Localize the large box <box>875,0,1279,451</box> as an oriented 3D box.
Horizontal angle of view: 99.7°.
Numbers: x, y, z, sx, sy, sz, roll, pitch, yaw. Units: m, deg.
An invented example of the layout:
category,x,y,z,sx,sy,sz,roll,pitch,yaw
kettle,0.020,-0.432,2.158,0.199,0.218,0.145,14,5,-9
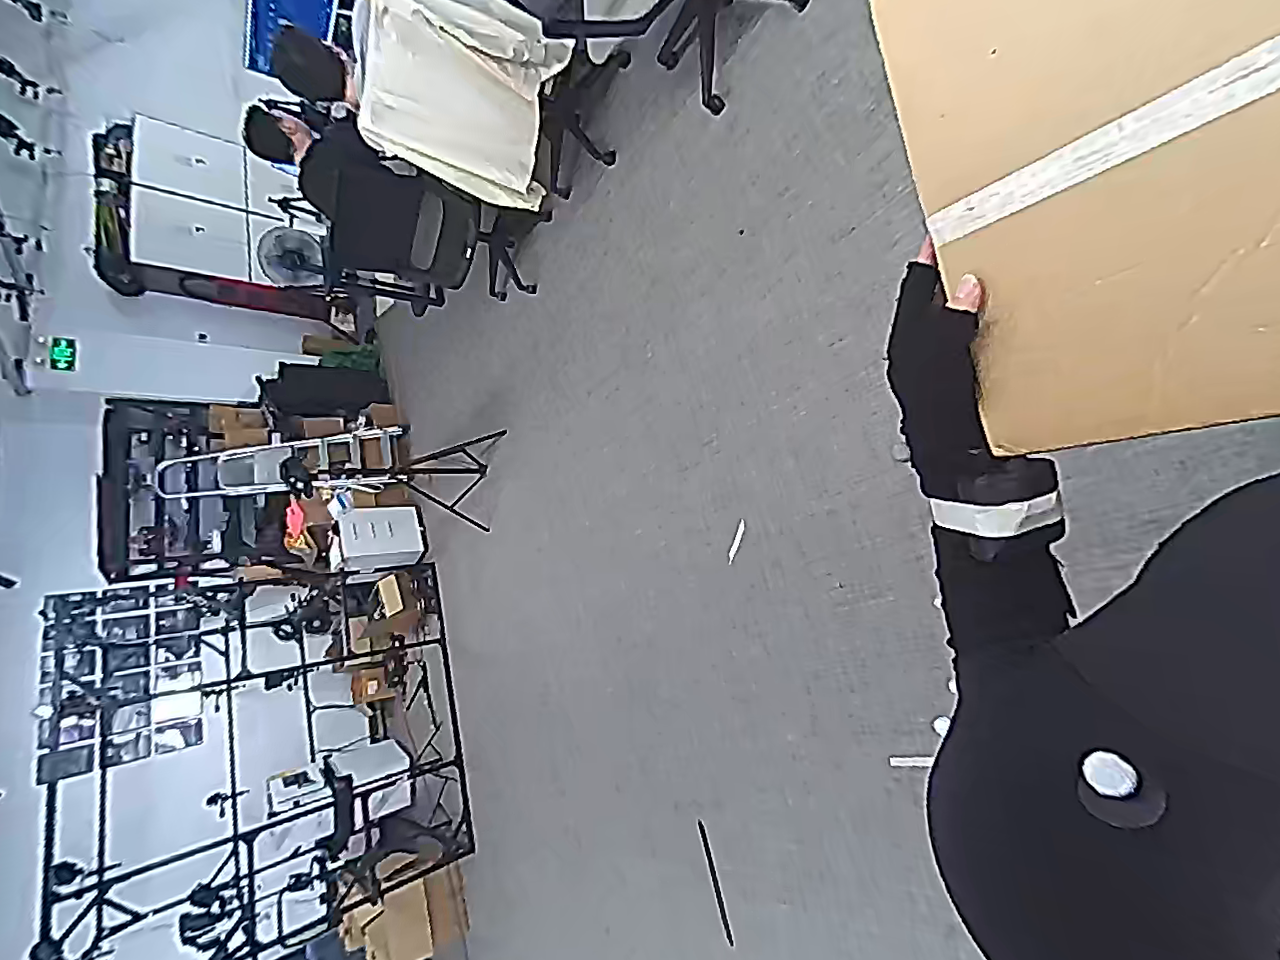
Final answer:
category,x,y,z,sx,sy,sz,roll,pitch,yaw
large box,0.430,-0.235,0.302,0.408,0.320,0.320,-14,93,53
